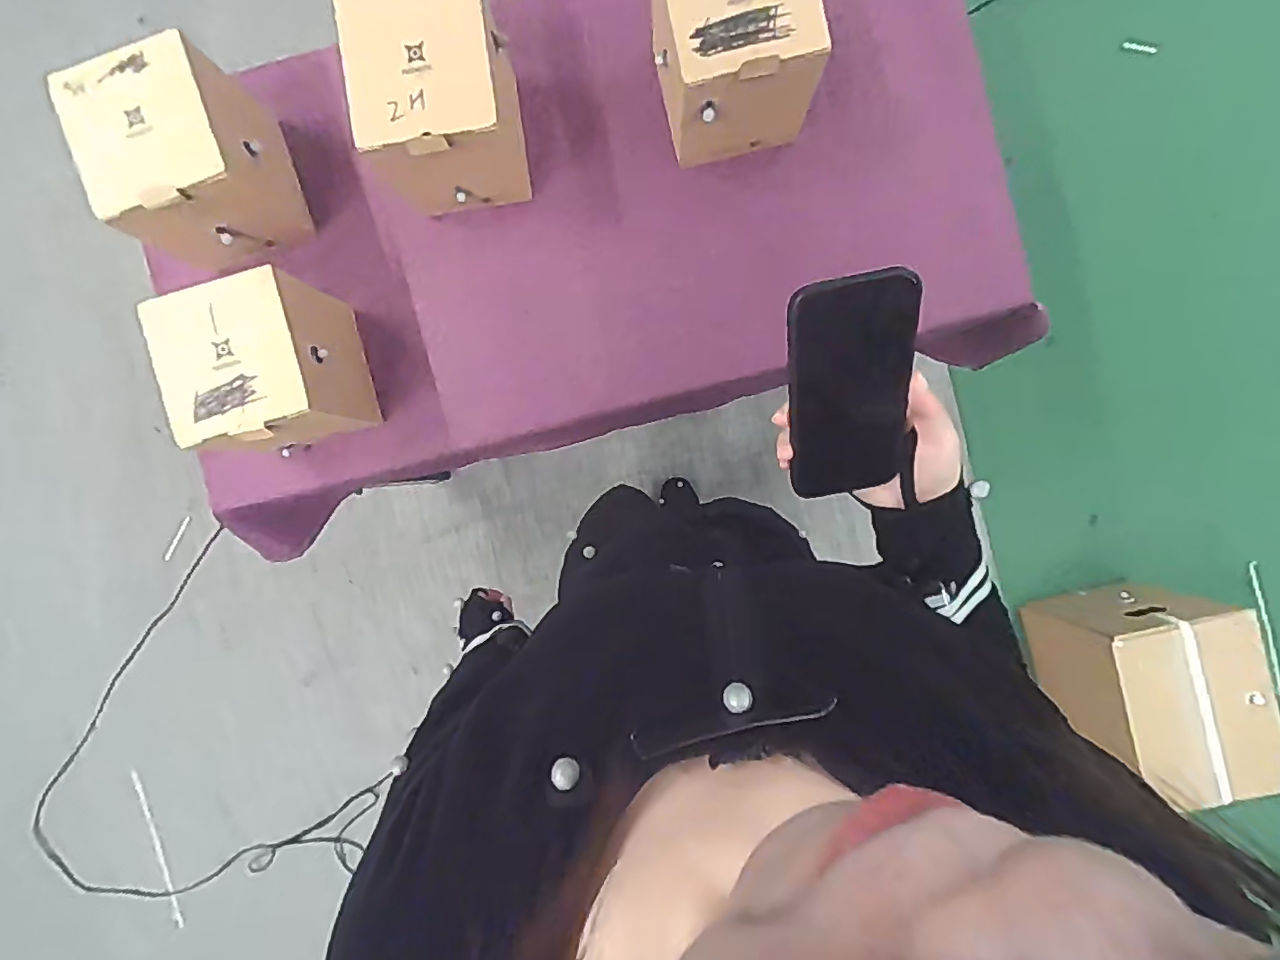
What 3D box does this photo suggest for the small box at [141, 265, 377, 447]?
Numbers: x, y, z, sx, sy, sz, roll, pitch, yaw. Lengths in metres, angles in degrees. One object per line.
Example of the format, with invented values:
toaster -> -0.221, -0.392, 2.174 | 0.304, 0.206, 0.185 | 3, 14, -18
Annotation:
small box -> -0.473, -0.144, 0.700 | 0.168, 0.176, 0.179 | -15, 89, 2

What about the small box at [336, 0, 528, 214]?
small box -> -0.249, -0.470, 0.684 | 0.168, 0.176, 0.179 | -7, 91, 3

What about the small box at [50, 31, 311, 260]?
small box -> -0.569, -0.406, 0.698 | 0.168, 0.176, 0.179 | -19, 92, 2
